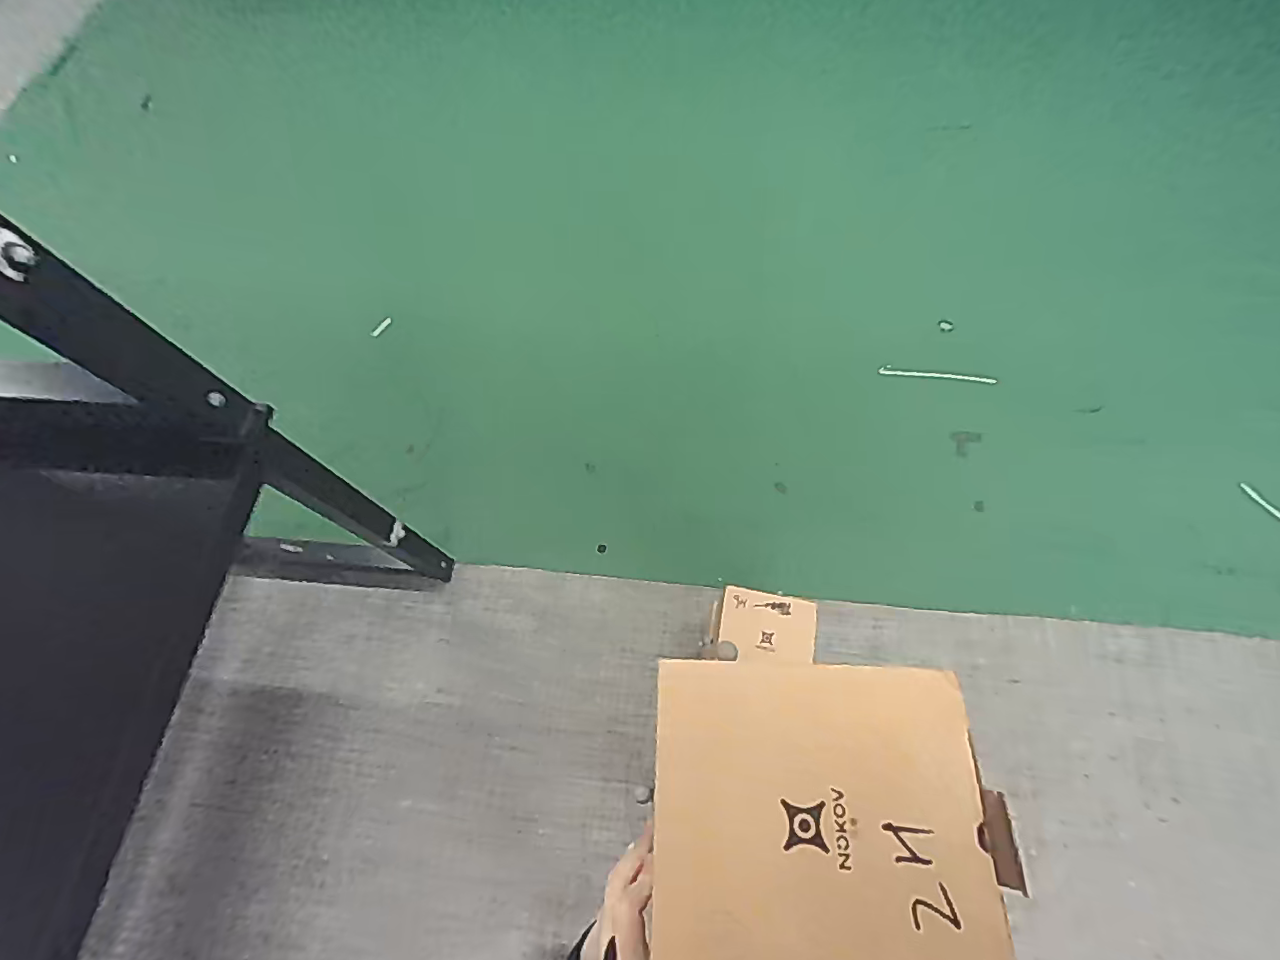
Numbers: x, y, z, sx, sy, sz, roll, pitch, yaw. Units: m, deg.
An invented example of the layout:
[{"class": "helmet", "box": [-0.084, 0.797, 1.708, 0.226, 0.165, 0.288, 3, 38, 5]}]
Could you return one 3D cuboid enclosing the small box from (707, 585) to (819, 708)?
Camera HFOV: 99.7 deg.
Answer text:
[{"class": "small box", "box": [0.219, 0.311, 0.996, 0.168, 0.176, 0.179, 10, 68, 7]}]
